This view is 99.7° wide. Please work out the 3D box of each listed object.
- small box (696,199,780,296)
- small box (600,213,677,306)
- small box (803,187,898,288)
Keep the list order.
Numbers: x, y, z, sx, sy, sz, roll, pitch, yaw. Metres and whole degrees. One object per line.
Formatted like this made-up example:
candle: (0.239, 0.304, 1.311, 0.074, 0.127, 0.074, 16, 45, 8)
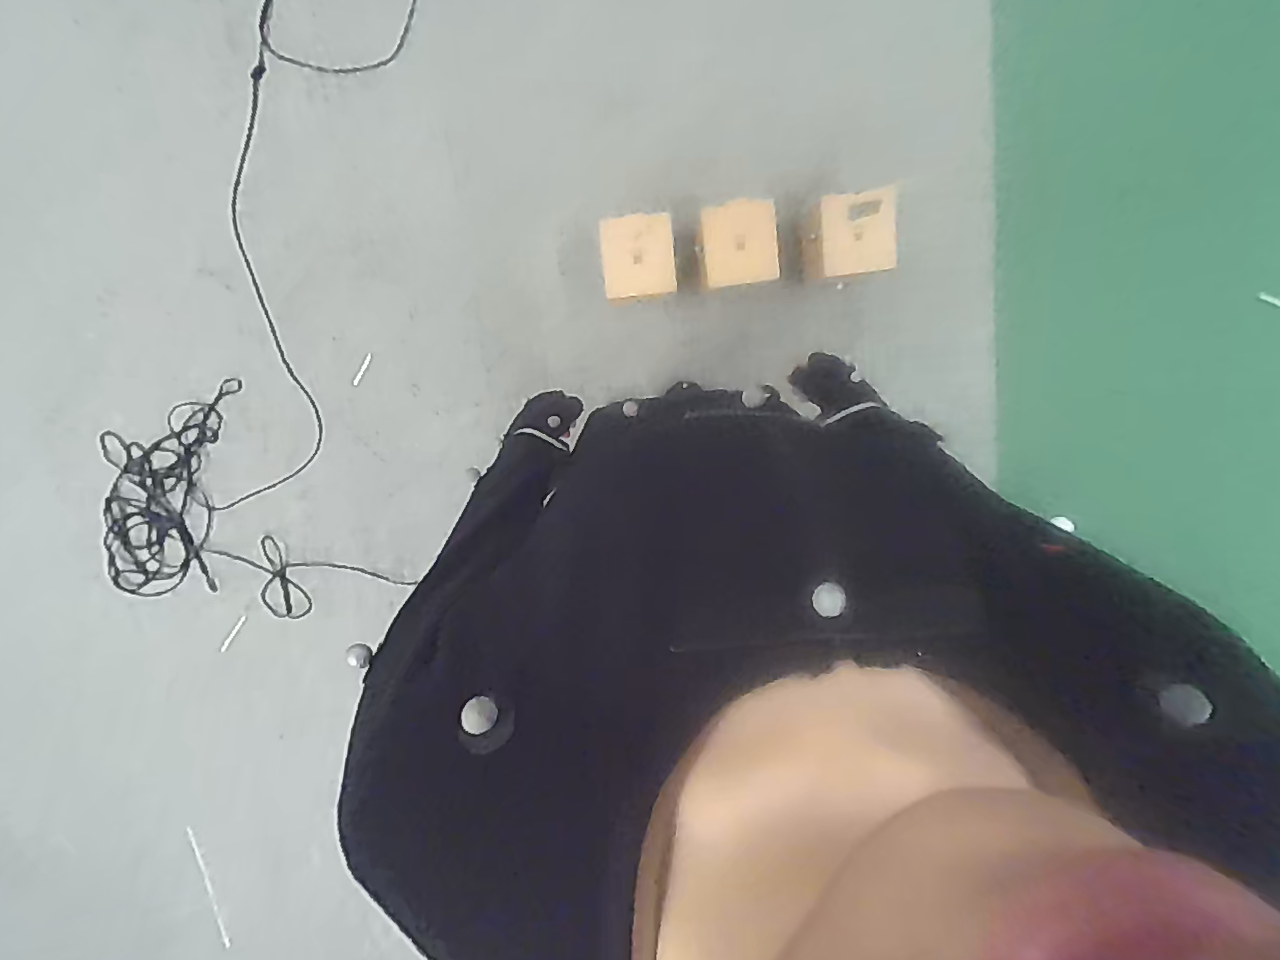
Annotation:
small box: (0.231, -0.546, 1.295, 0.168, 0.176, 0.179, -8, 100, 2)
small box: (0.000, -0.520, 1.301, 0.168, 0.176, 0.179, -6, 100, 1)
small box: (0.494, -0.569, 1.287, 0.168, 0.176, 0.179, -7, 101, 2)
